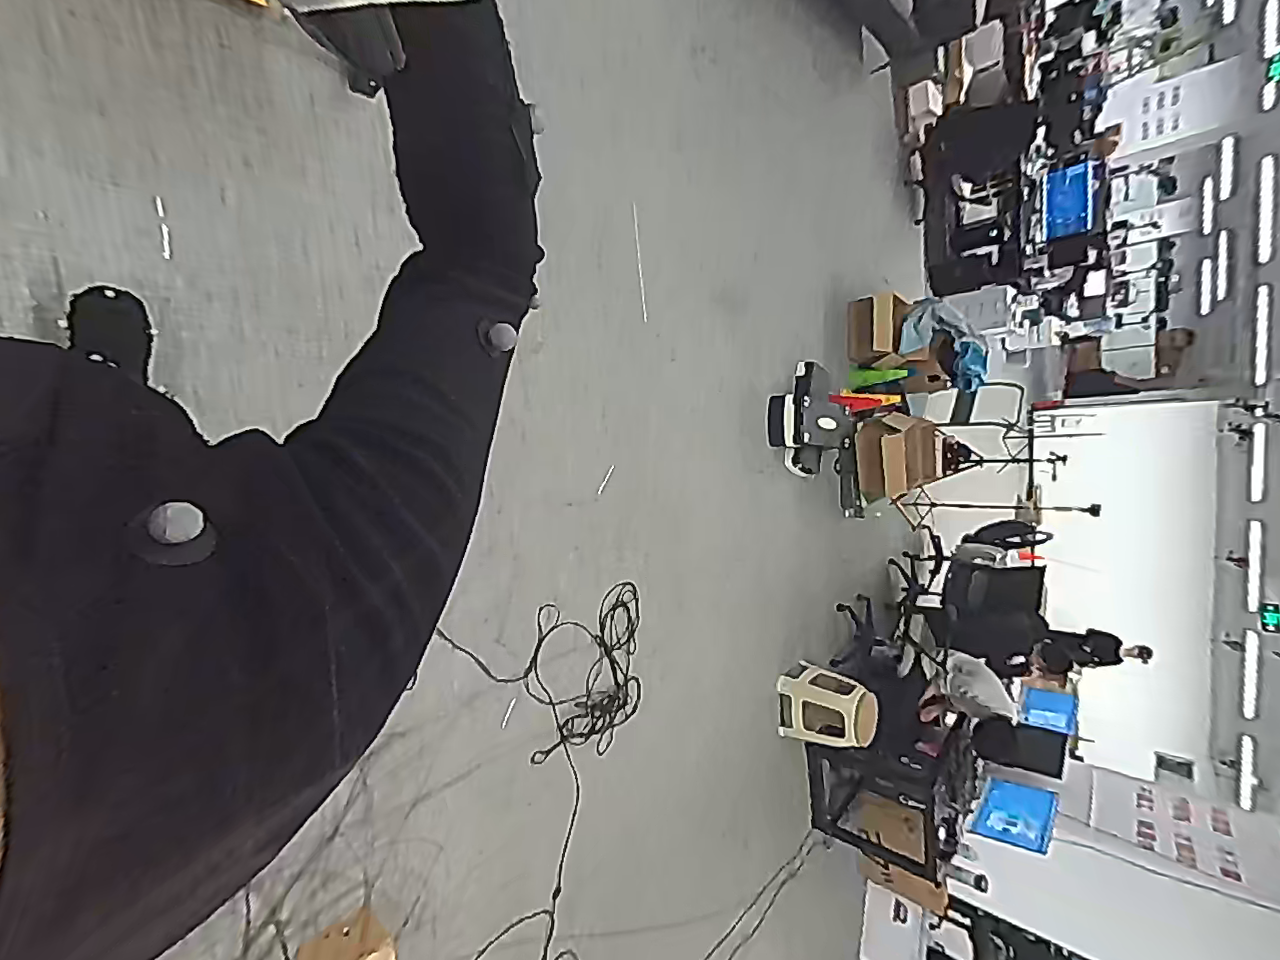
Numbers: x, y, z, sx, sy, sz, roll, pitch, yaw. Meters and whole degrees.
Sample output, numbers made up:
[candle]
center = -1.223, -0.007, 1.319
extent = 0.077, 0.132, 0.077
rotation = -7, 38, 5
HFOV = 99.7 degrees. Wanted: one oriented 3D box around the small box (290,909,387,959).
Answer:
[small box]
center = -0.732, 1.218, 1.323
extent = 0.168, 0.176, 0.179
rotation = -11, 98, -47
